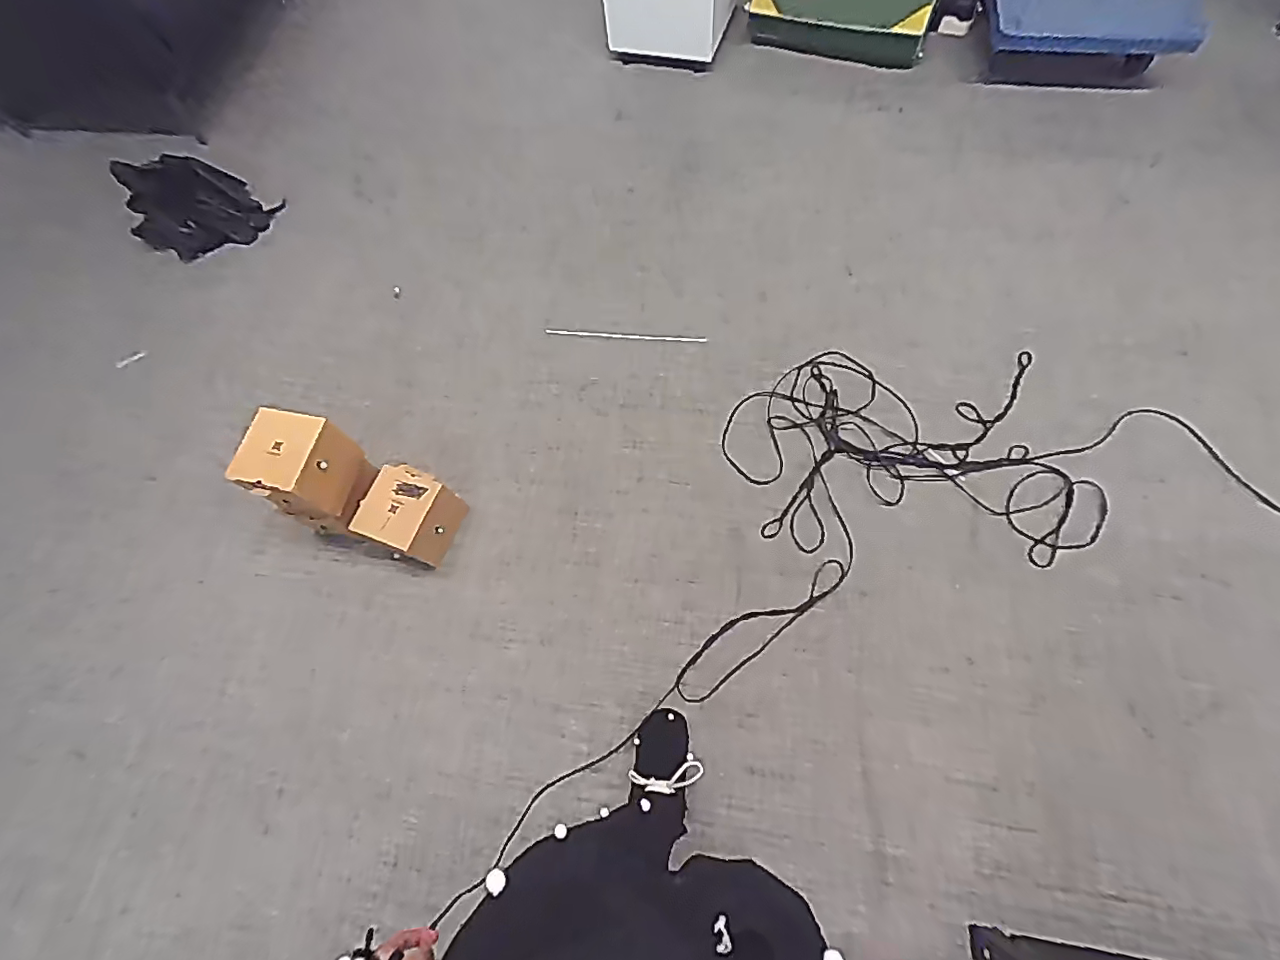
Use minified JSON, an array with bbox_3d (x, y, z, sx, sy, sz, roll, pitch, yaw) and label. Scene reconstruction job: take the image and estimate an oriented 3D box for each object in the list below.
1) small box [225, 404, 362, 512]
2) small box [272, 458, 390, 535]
[{"bbox_3d":[-0.767,-0.045,1.222,0.168,0.176,0.179,10,69,8],"label":"small box"},{"bbox_3d":[-0.769,0.028,1.369,0.168,0.176,0.179,10,70,9],"label":"small box"}]
